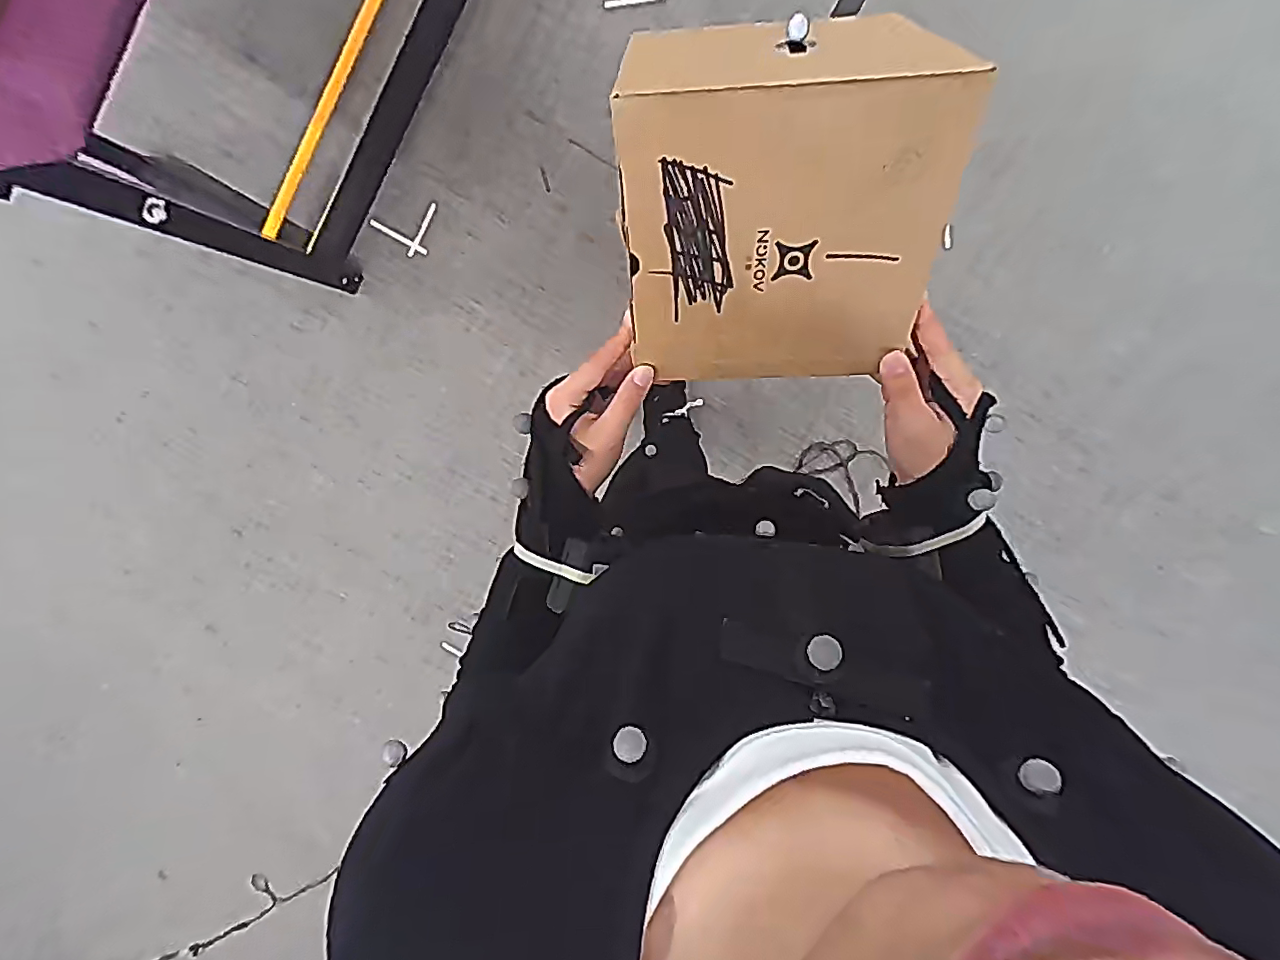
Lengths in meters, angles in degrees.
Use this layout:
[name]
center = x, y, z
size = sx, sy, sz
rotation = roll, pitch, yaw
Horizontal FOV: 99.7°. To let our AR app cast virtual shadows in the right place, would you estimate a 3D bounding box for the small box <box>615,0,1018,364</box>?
[small box]
center = 0.083, -0.192, 0.348
size = 0.179, 0.176, 0.168
rotation = -1, 138, 4
